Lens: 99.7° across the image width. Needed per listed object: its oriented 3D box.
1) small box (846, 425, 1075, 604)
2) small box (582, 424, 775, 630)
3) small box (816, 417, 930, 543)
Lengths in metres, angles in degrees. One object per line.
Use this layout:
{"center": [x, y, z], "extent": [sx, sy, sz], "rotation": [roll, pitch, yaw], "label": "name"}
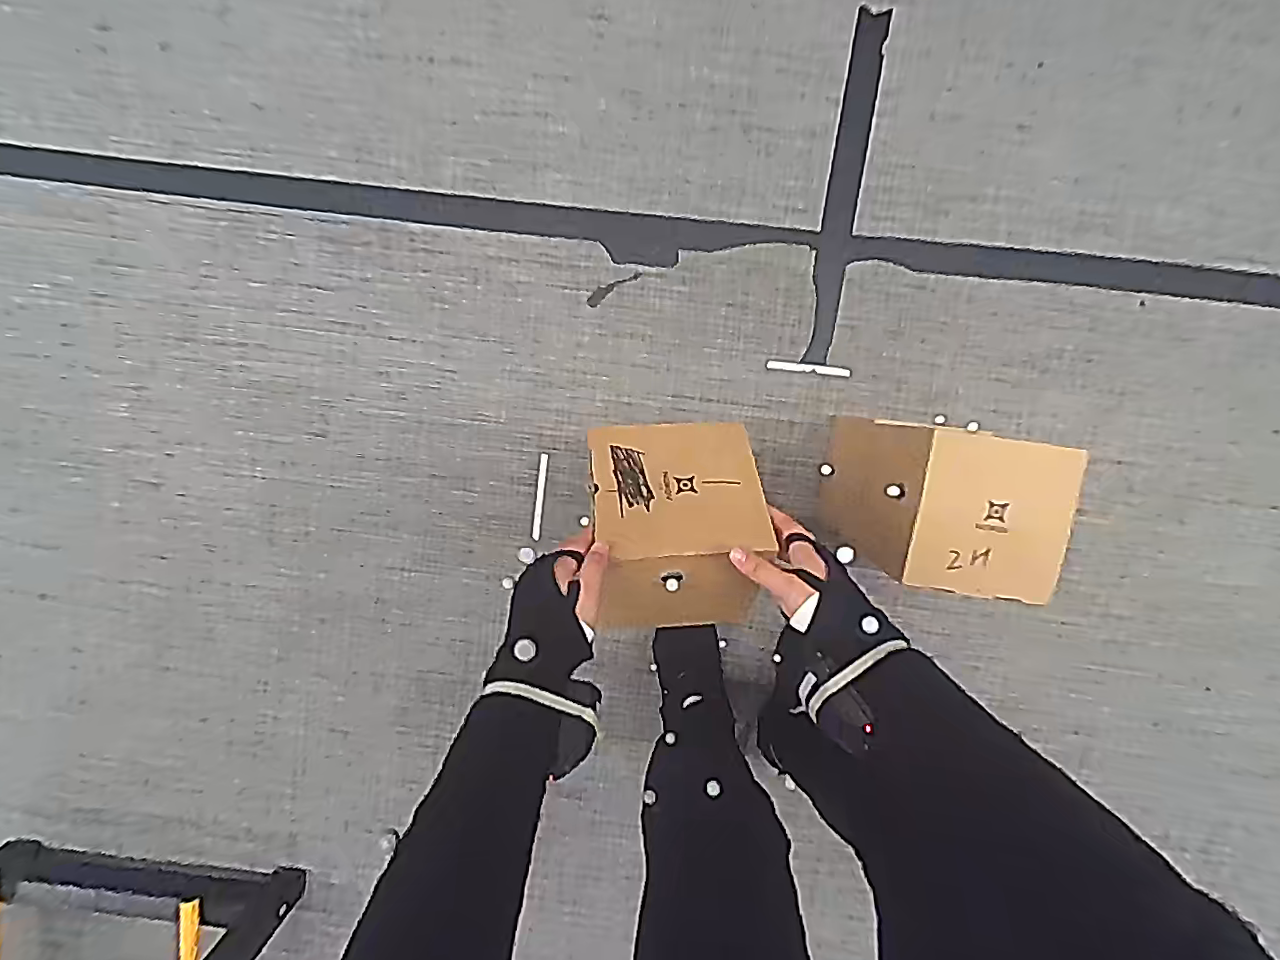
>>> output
{"center": [0.372, 0.030, 0.664], "extent": [0.168, 0.176, 0.179], "rotation": [8, 98, 0], "label": "small box"}
{"center": [0.030, 0.057, 0.601], "extent": [0.179, 0.176, 0.168], "rotation": [-3, 53, -6], "label": "small box"}
{"center": [0.381, 0.001, 0.828], "extent": [0.168, 0.176, 0.179], "rotation": [7, 98, 1], "label": "small box"}
